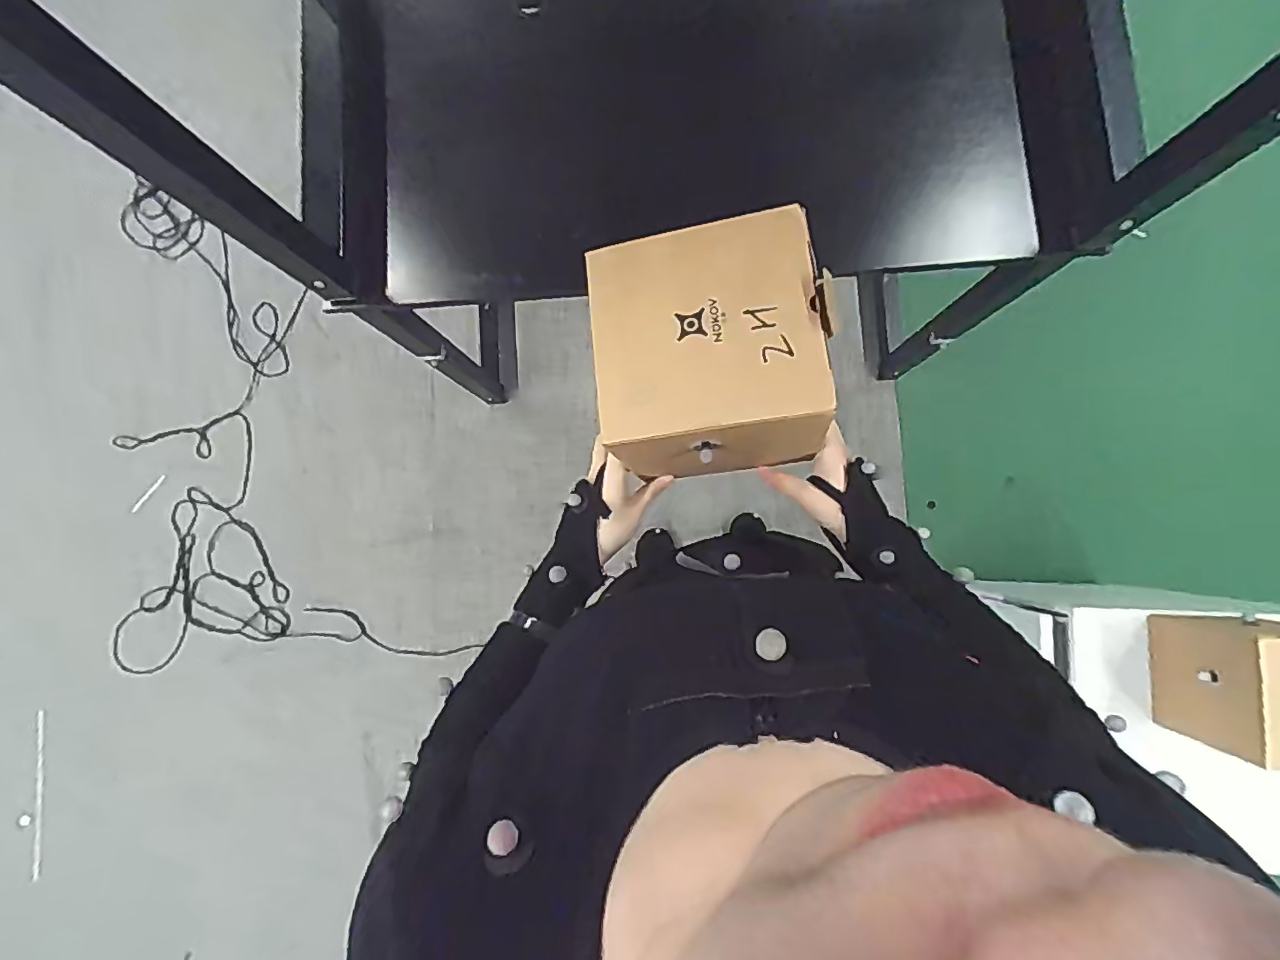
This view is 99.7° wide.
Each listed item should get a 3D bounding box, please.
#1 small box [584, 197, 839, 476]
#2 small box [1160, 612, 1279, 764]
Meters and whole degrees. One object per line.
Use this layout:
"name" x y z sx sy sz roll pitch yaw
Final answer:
"small box" 0.063 -0.104 0.474 0.179 0.176 0.168 -7 79 11
"small box" 0.895 0.286 0.766 0.168 0.176 0.179 0 86 4
